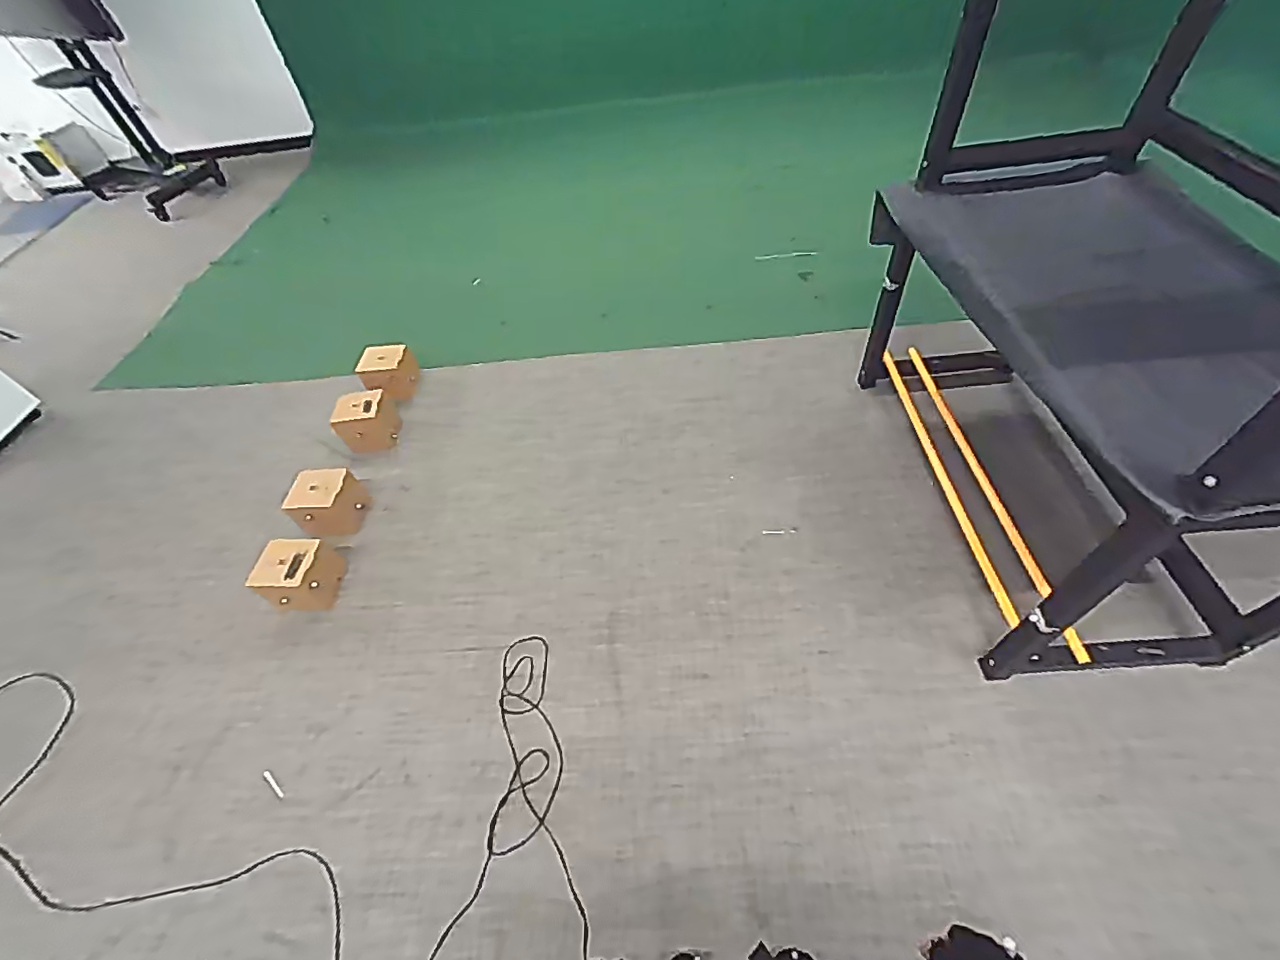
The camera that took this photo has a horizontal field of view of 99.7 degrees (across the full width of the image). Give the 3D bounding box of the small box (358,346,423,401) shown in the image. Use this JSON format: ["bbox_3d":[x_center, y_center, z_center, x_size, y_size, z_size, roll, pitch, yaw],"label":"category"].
[{"bbox_3d":[-1.067,-0.453,2.324,0.179,0.176,0.168,-4,51,3],"label":"small box"}]

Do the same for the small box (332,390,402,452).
[{"bbox_3d":[-1.070,-0.229,2.135,0.179,0.176,0.168,-8,49,2],"label":"small box"}]

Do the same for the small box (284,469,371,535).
[{"bbox_3d":[-1.075,0.079,1.876,0.179,0.176,0.168,-3,51,4],"label":"small box"}]
